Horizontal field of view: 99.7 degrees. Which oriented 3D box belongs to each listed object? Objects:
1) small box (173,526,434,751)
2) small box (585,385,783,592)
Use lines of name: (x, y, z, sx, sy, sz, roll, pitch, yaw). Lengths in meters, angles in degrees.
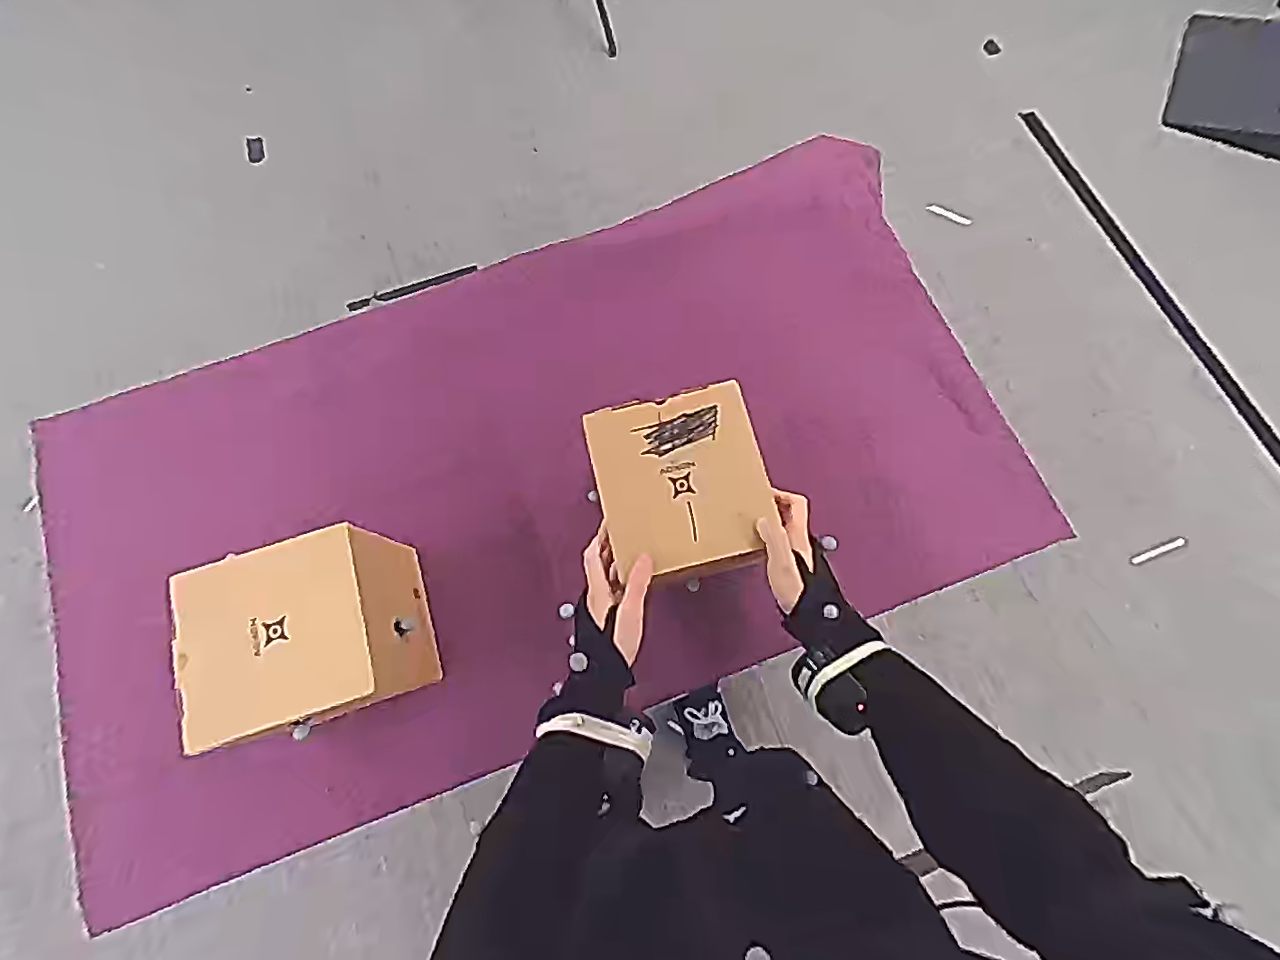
small box: (-0.341, 0.162, 0.582, 0.179, 0.176, 0.168, -18, 75, -3)
small box: (0.040, 0.020, 0.609, 0.168, 0.176, 0.179, -13, 76, -2)
